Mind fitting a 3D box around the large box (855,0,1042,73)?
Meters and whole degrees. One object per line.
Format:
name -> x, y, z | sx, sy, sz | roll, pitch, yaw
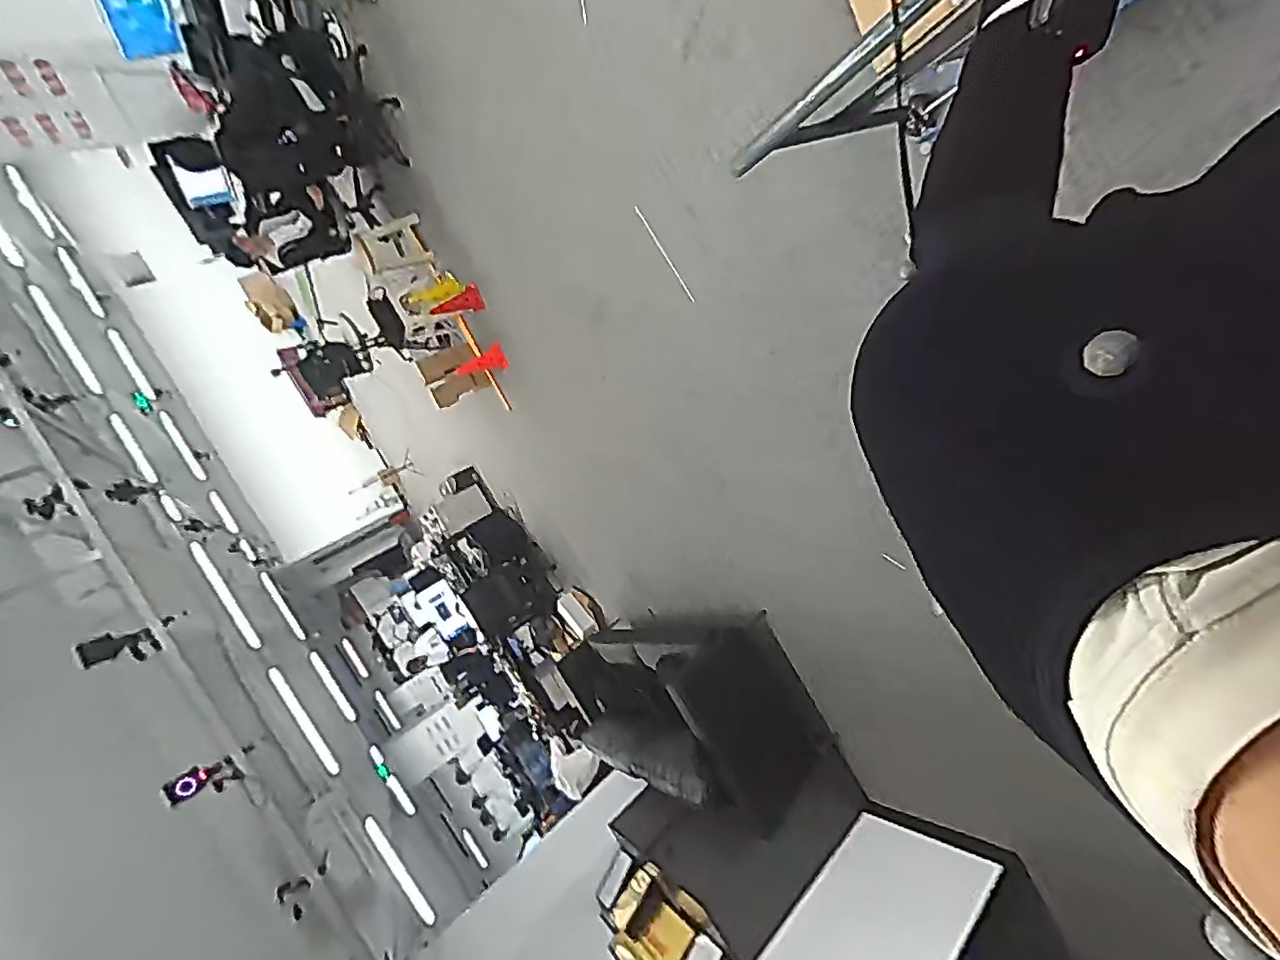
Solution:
large box -> 0.538, -0.979, 0.876 | 0.320, 0.320, 0.408 | -11, 107, 60
